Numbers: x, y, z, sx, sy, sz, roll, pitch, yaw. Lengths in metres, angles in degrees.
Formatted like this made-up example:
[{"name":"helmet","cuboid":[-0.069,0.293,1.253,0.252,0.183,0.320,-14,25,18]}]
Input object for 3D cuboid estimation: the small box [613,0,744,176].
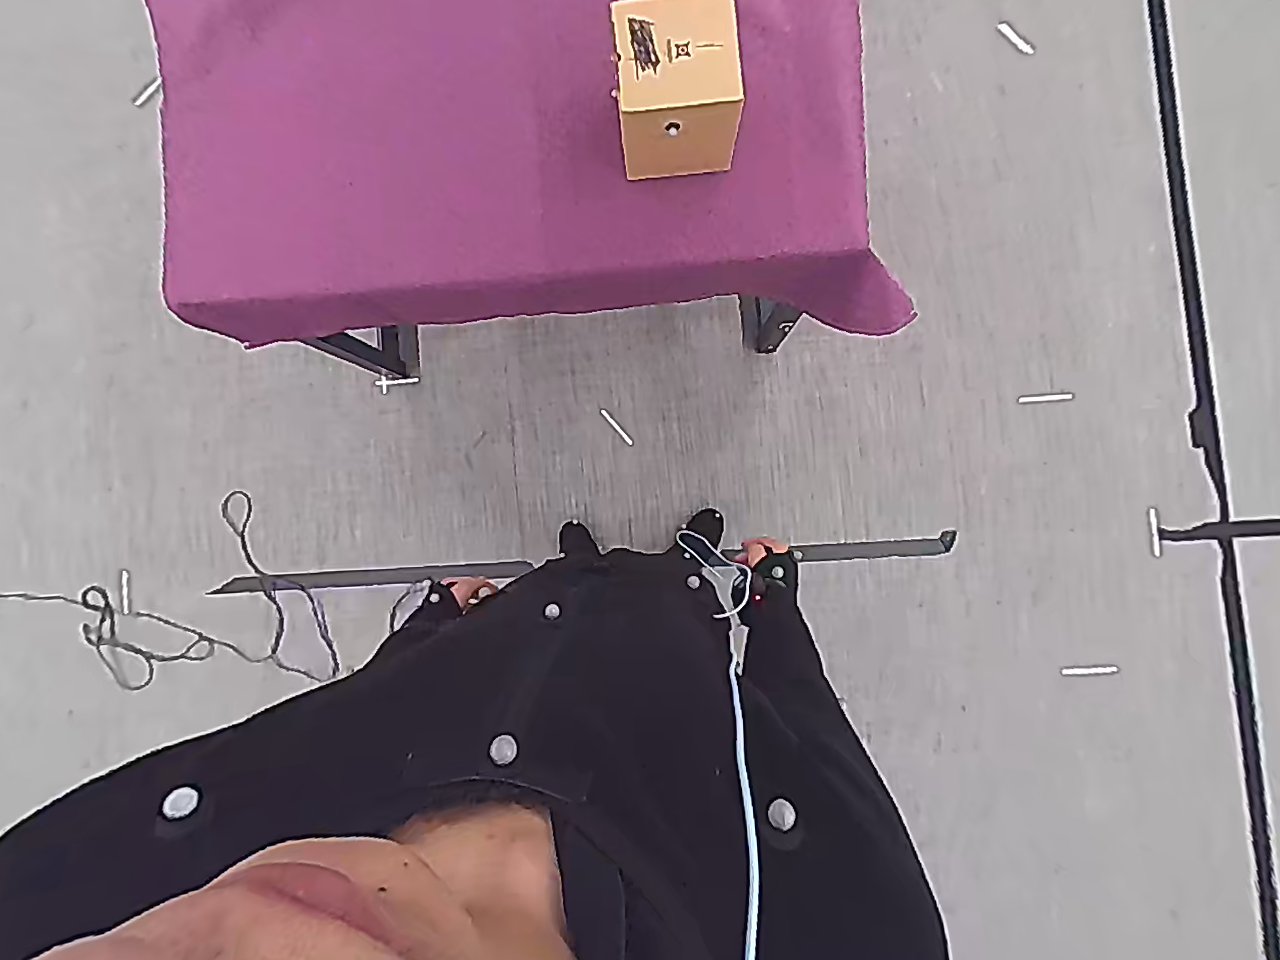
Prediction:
[{"name":"small box","cuboid":[0.058,-0.599,0.838,0.179,0.176,0.168,-4,88,2]}]
